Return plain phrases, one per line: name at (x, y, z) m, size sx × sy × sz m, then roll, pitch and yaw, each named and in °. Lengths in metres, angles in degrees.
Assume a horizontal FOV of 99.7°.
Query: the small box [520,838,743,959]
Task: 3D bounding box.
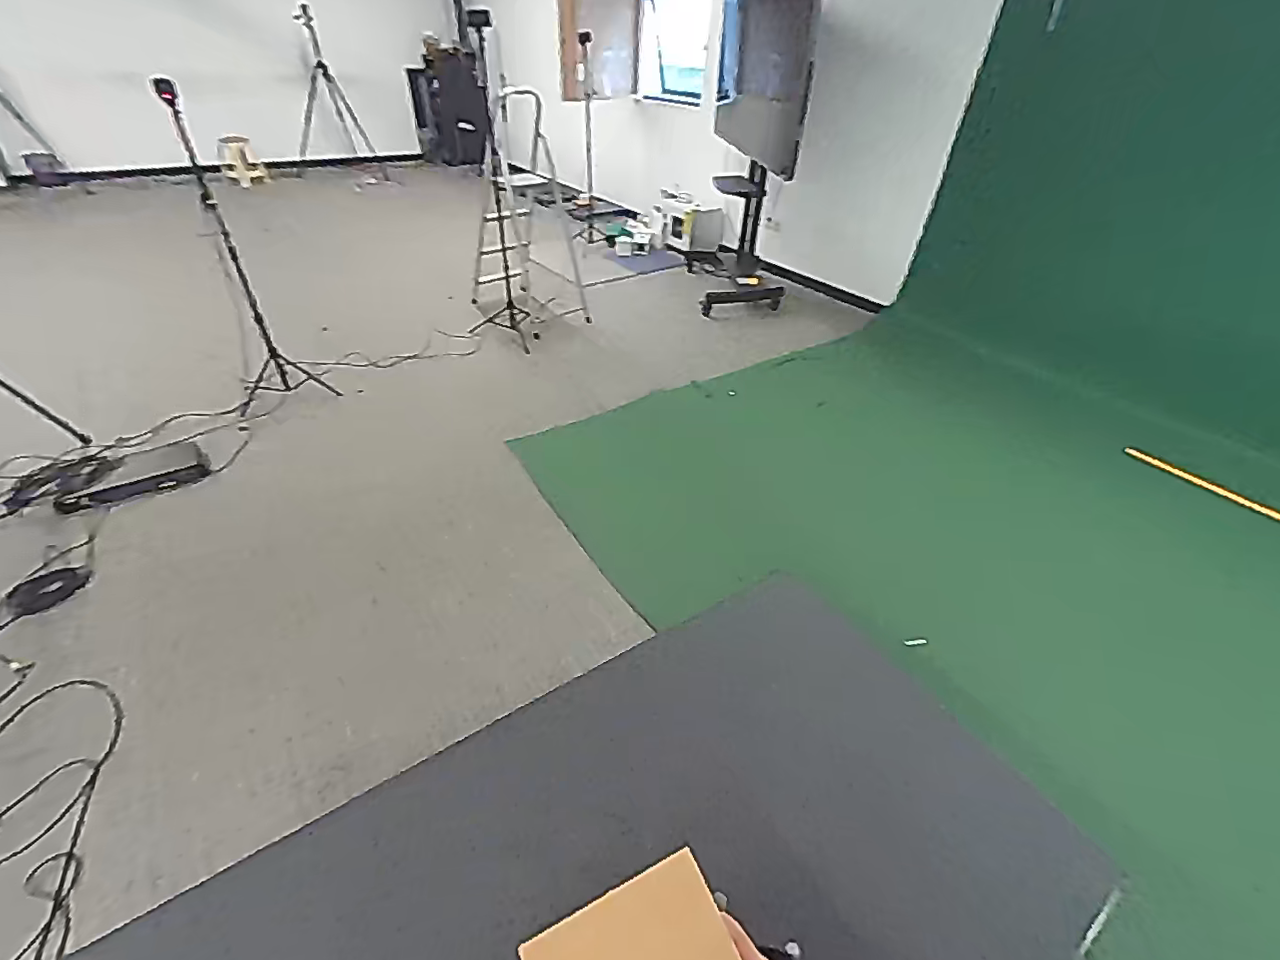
small box at (0.004, 0.465, 0.475) m, size 0.168 × 0.176 × 0.179 m, roll -17°, pitch 47°, yaw -18°
